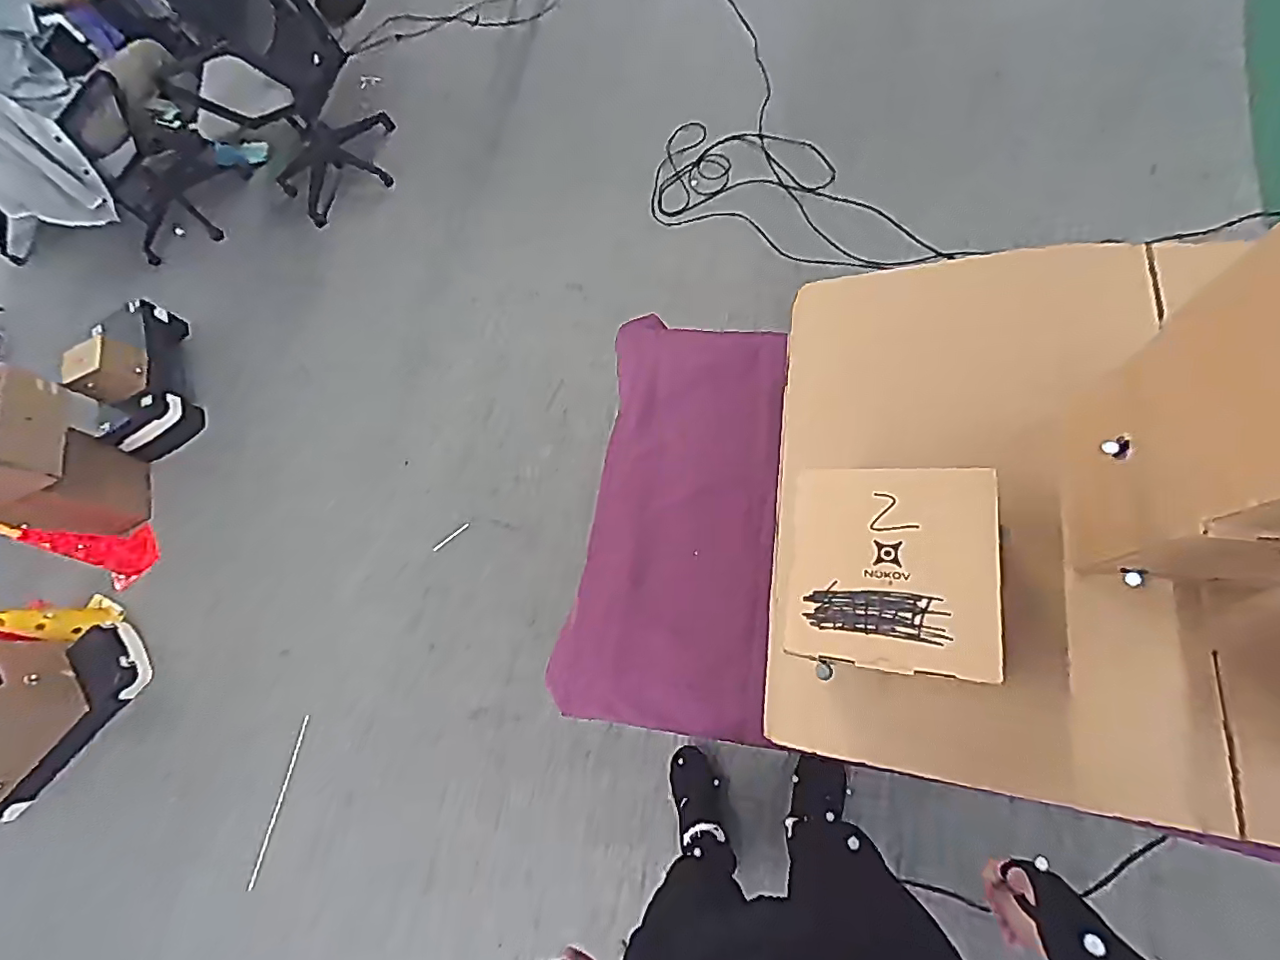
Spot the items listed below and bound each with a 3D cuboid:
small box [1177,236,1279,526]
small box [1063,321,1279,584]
[{"bbox_3d":[0.472,-0.072,0.314,0.168,0.176,0.179,4,73,12],"label":"small box"},{"bbox_3d":[0.503,-0.013,0.462,0.168,0.176,0.179,5,72,12],"label":"small box"}]
